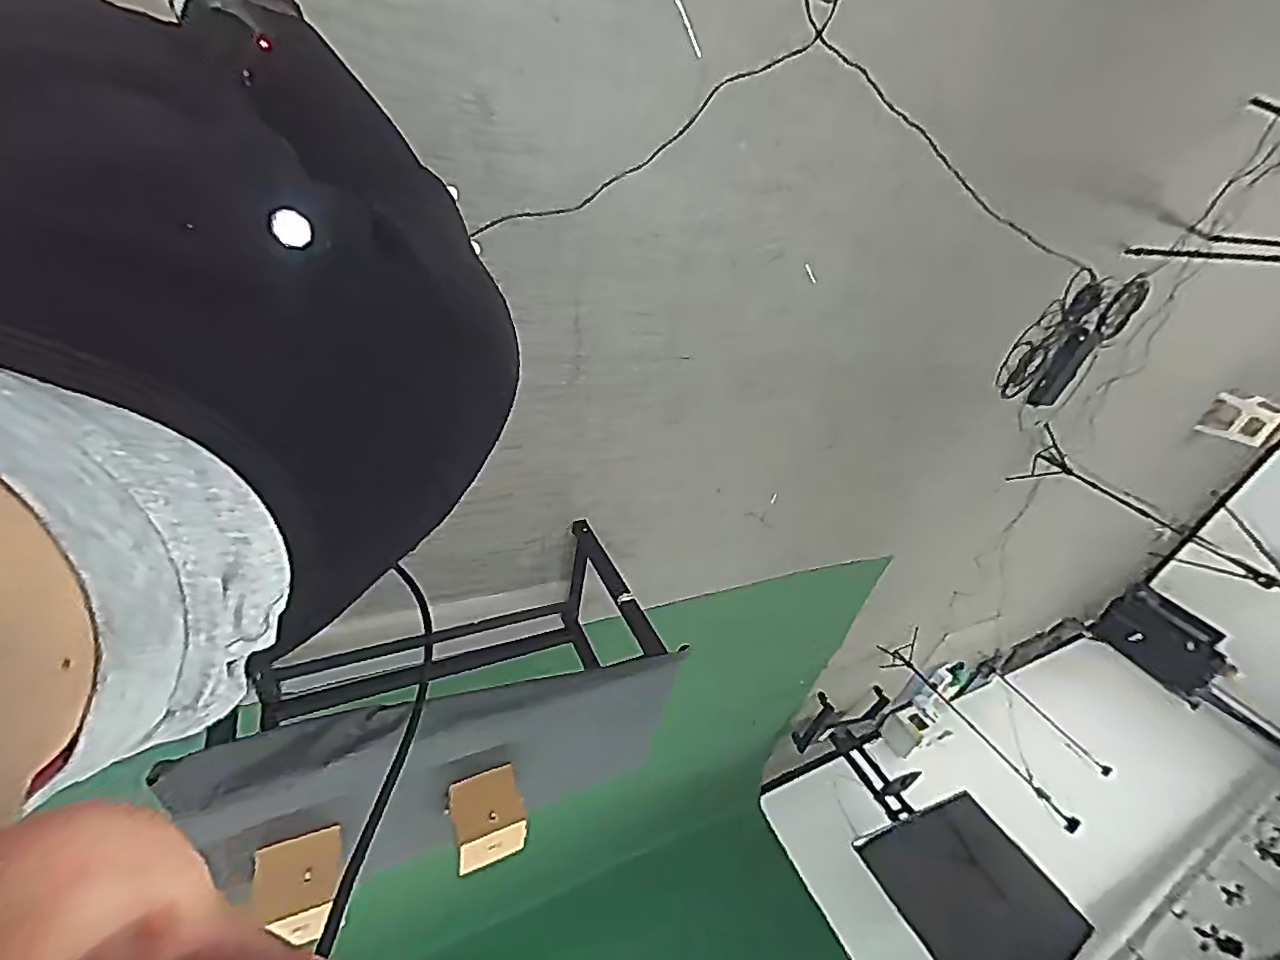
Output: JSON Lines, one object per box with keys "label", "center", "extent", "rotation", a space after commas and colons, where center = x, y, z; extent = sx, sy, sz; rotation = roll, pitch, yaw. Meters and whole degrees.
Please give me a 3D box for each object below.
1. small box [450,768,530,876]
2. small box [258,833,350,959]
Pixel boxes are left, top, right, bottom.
{"label": "small box", "center": [-0.420, 0.939, 1.500], "extent": [0.179, 0.176, 0.168], "rotation": [-7, 126, -27]}
{"label": "small box", "center": [-0.797, 0.983, 1.284], "extent": [0.179, 0.176, 0.168], "rotation": [-3, 124, -32]}
